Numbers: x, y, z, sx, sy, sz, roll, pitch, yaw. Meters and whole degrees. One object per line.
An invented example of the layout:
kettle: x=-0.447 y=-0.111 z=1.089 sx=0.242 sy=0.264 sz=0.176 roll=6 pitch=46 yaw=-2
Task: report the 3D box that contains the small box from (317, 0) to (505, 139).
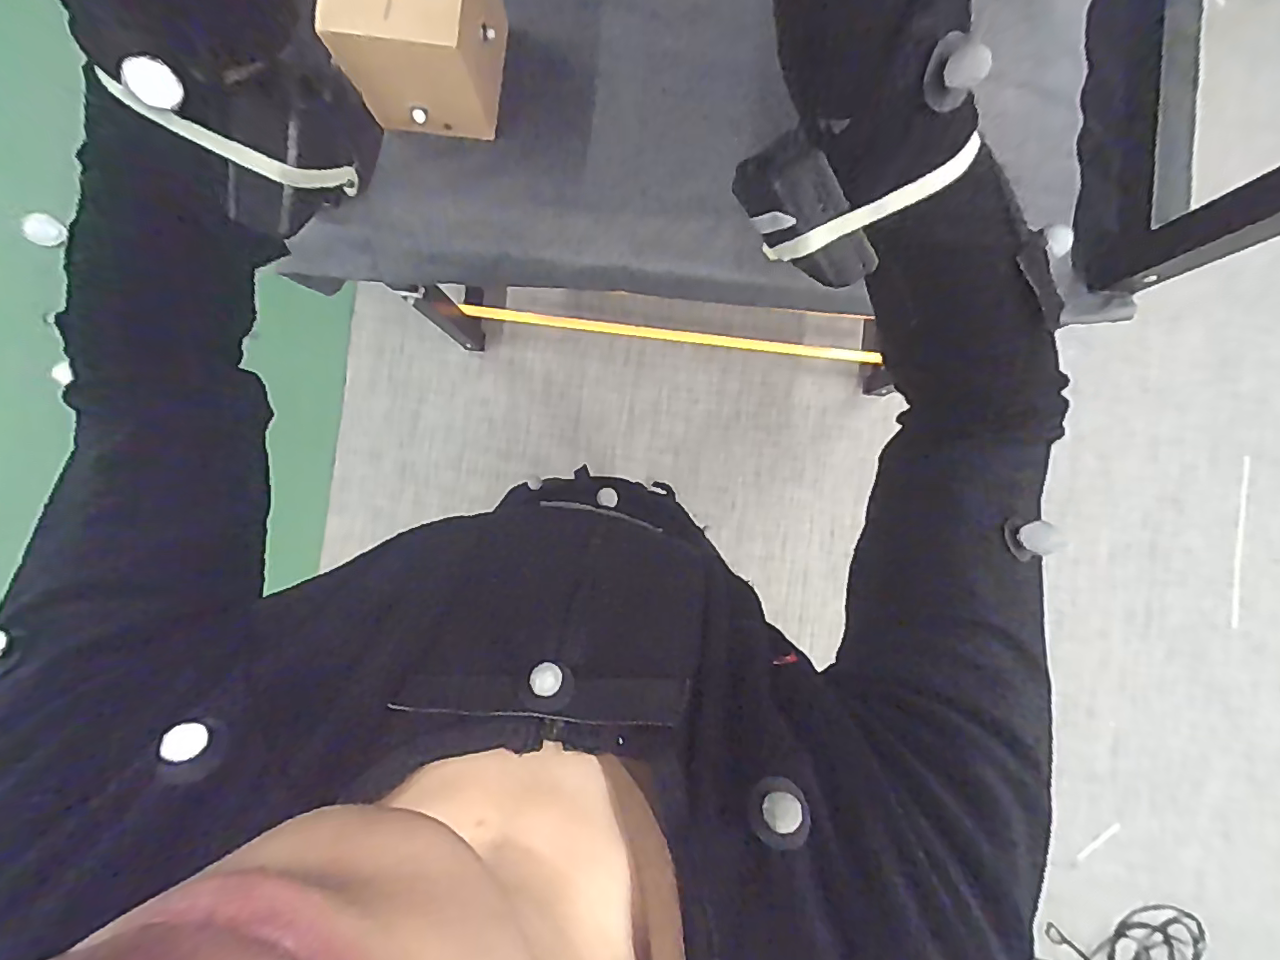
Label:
small box: x=-0.279 y=-0.587 z=0.698 sx=0.168 sy=0.176 sz=0.179 roll=6 pitch=89 yaw=-1
